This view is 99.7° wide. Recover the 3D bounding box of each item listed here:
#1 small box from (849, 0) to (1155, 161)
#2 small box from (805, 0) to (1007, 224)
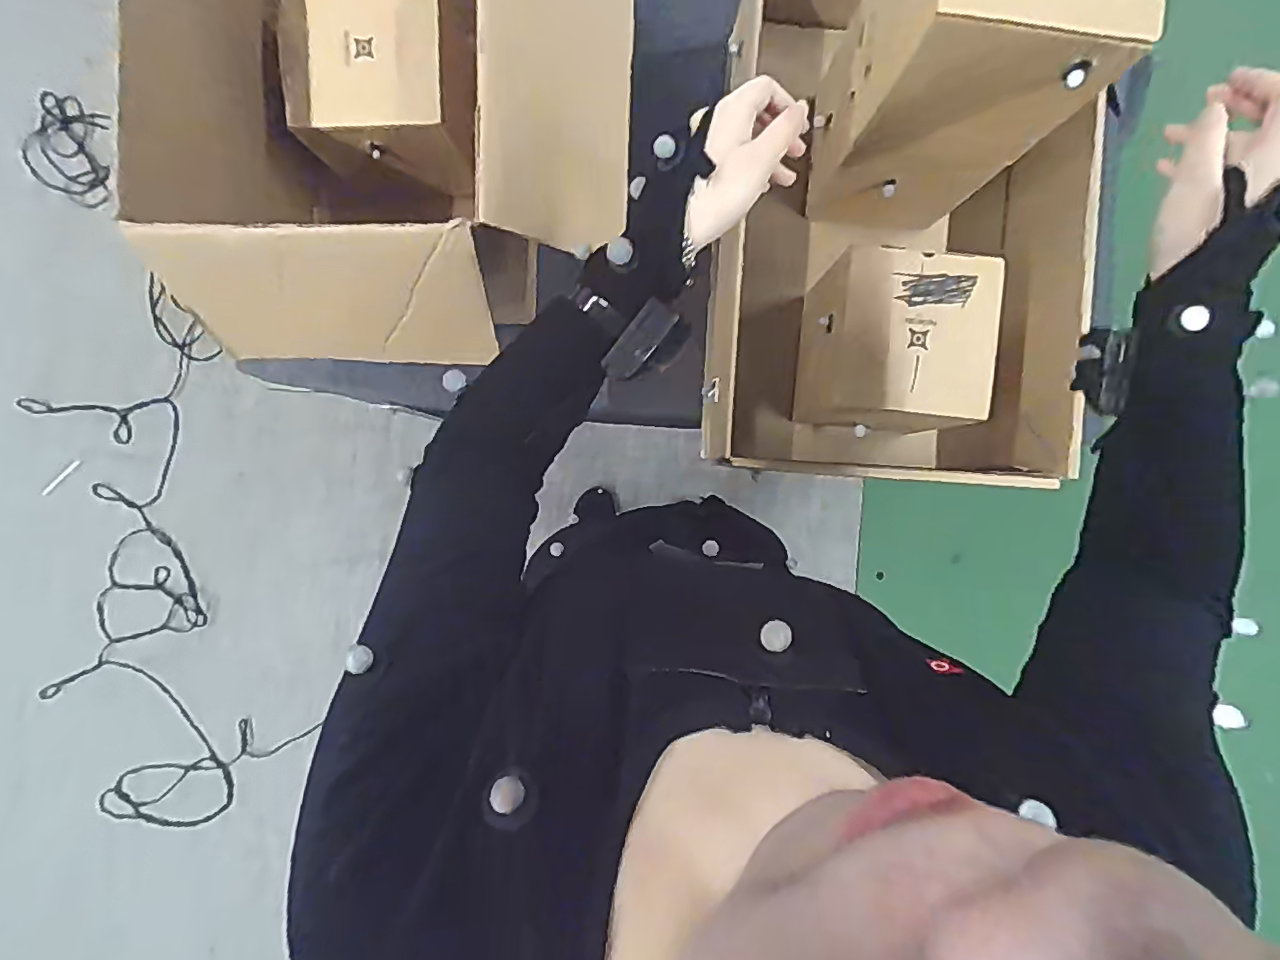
[{"bbox_3d":[0.311,-0.422,0.491,0.179,0.176,0.168,6,92,-2],"label":"small box"},{"bbox_3d":[0.312,-0.430,0.654,0.179,0.176,0.168,5,93,0],"label":"small box"}]
